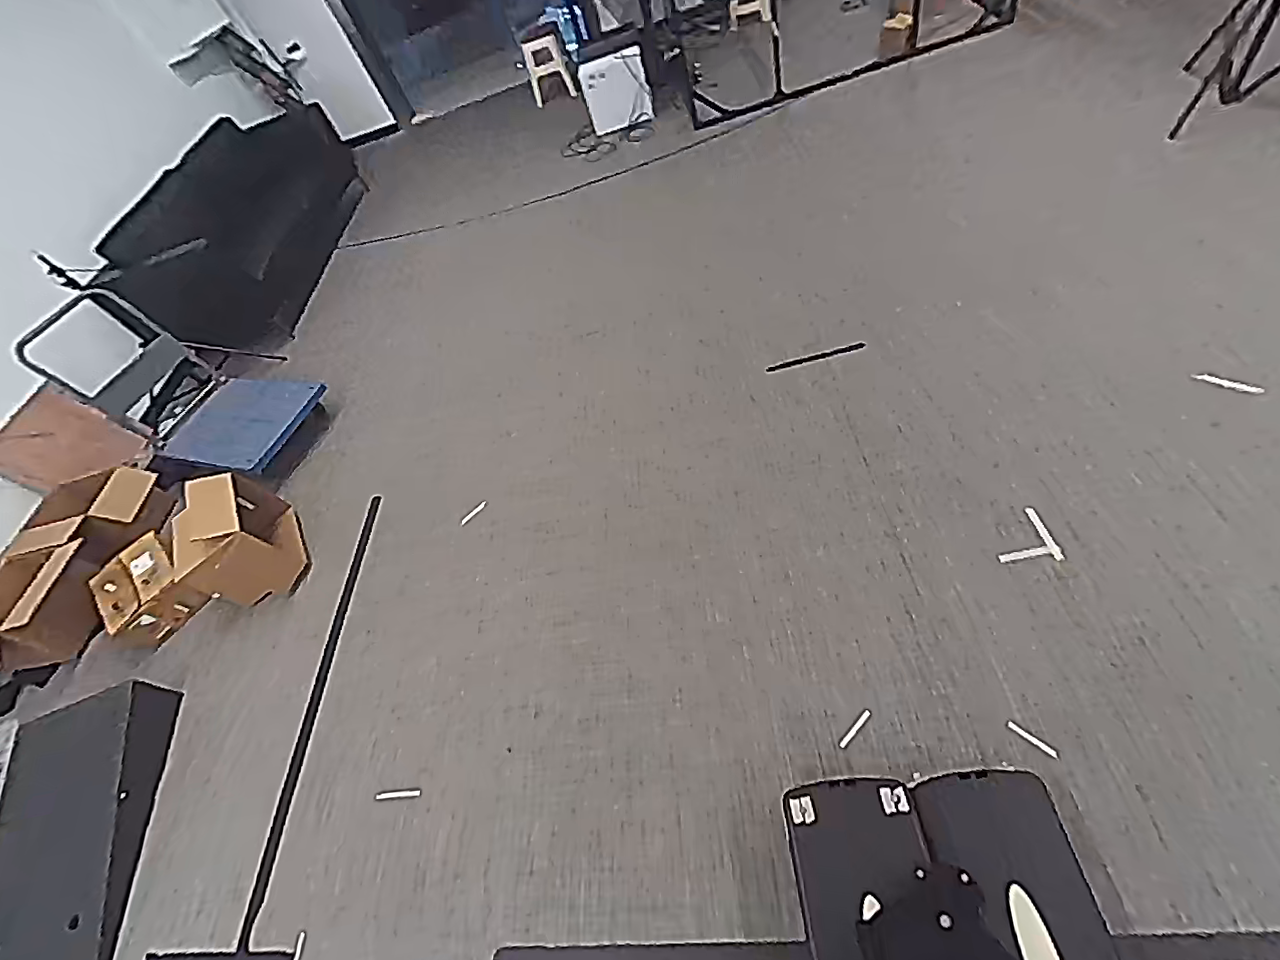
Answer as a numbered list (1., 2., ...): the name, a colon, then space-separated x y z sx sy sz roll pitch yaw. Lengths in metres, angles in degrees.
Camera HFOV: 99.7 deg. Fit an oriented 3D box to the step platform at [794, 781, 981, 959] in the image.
1. step platform: 0.519 0.984 1.066 0.286 0.204 0.684 -13 51 10
